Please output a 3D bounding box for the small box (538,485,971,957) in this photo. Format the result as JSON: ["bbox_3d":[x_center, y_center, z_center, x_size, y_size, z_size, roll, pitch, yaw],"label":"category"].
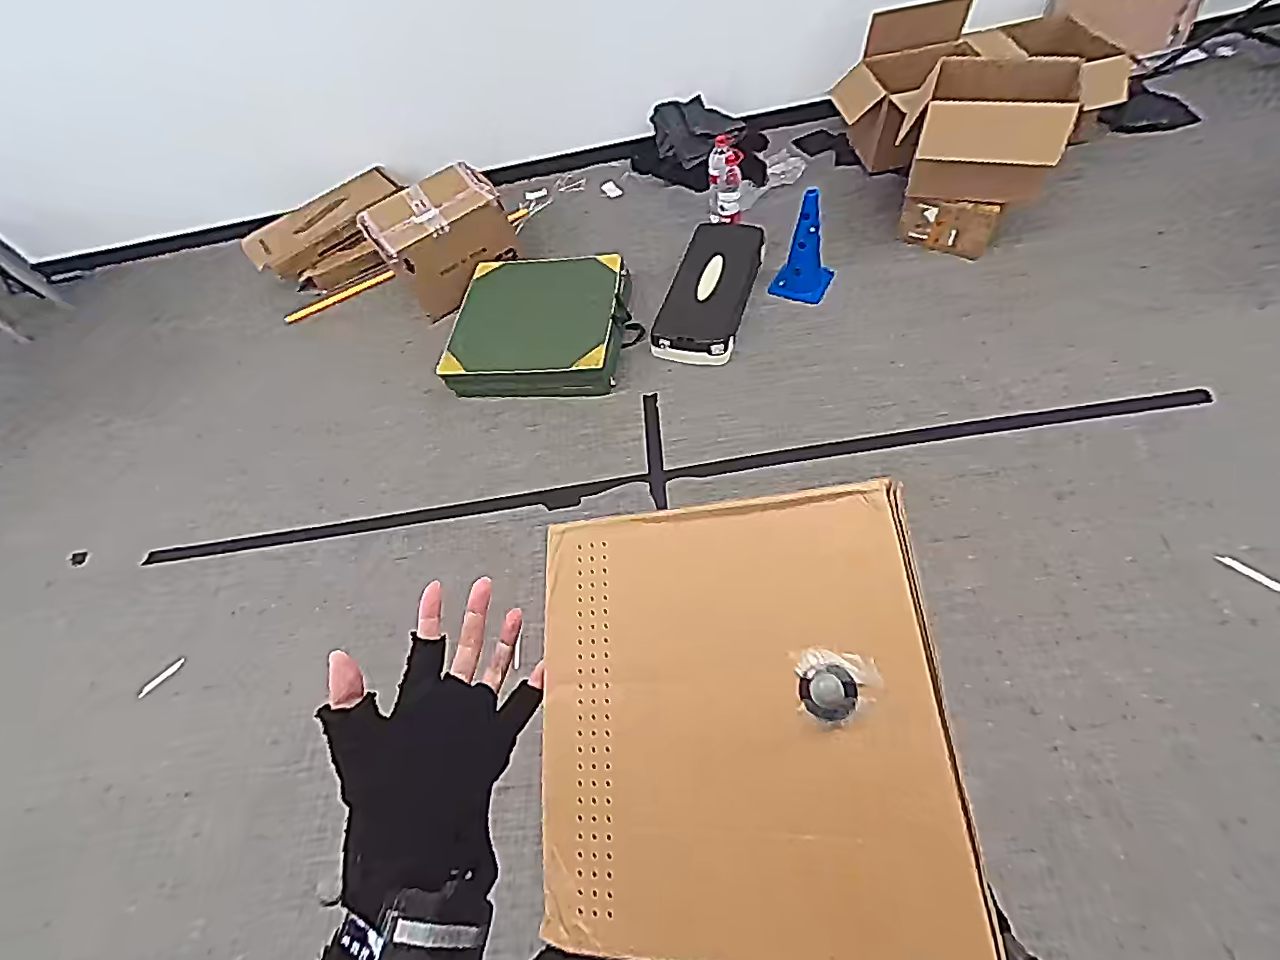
[{"bbox_3d":[0.055,0.121,0.304,0.176,0.168,0.179,-10,68,18],"label":"small box"}]
